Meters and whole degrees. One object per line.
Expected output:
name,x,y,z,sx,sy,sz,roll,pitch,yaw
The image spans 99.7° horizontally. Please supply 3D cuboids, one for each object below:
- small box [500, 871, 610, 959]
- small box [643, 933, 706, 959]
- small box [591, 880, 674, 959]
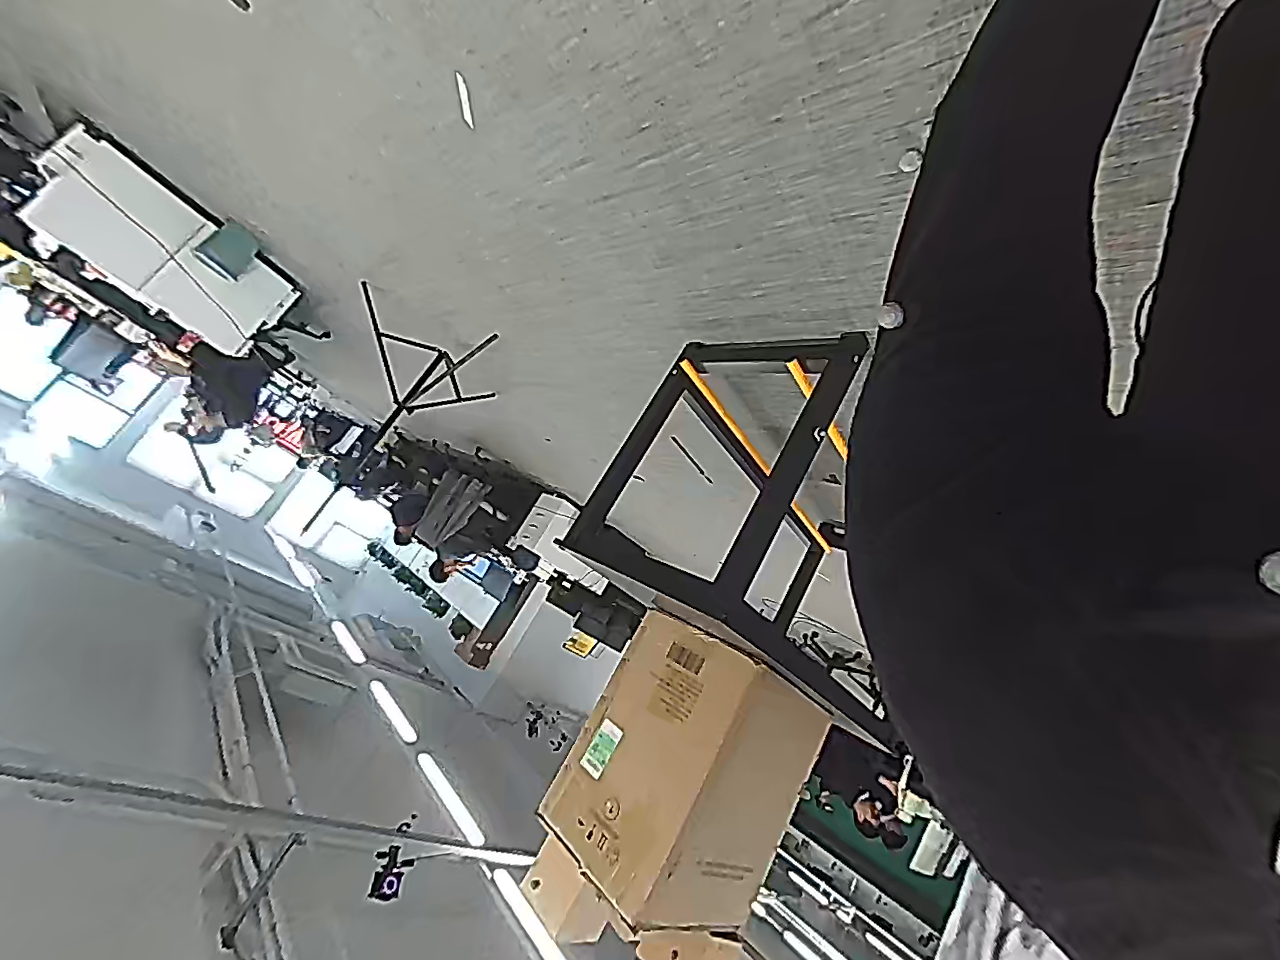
small box,-0.205,1.103,1.335,0.179,0.176,0.168,15,160,49
small box,0.096,1.286,1.351,0.179,0.176,0.168,7,149,50
small box,-0.035,1.257,1.506,0.168,0.176,0.179,15,157,47
